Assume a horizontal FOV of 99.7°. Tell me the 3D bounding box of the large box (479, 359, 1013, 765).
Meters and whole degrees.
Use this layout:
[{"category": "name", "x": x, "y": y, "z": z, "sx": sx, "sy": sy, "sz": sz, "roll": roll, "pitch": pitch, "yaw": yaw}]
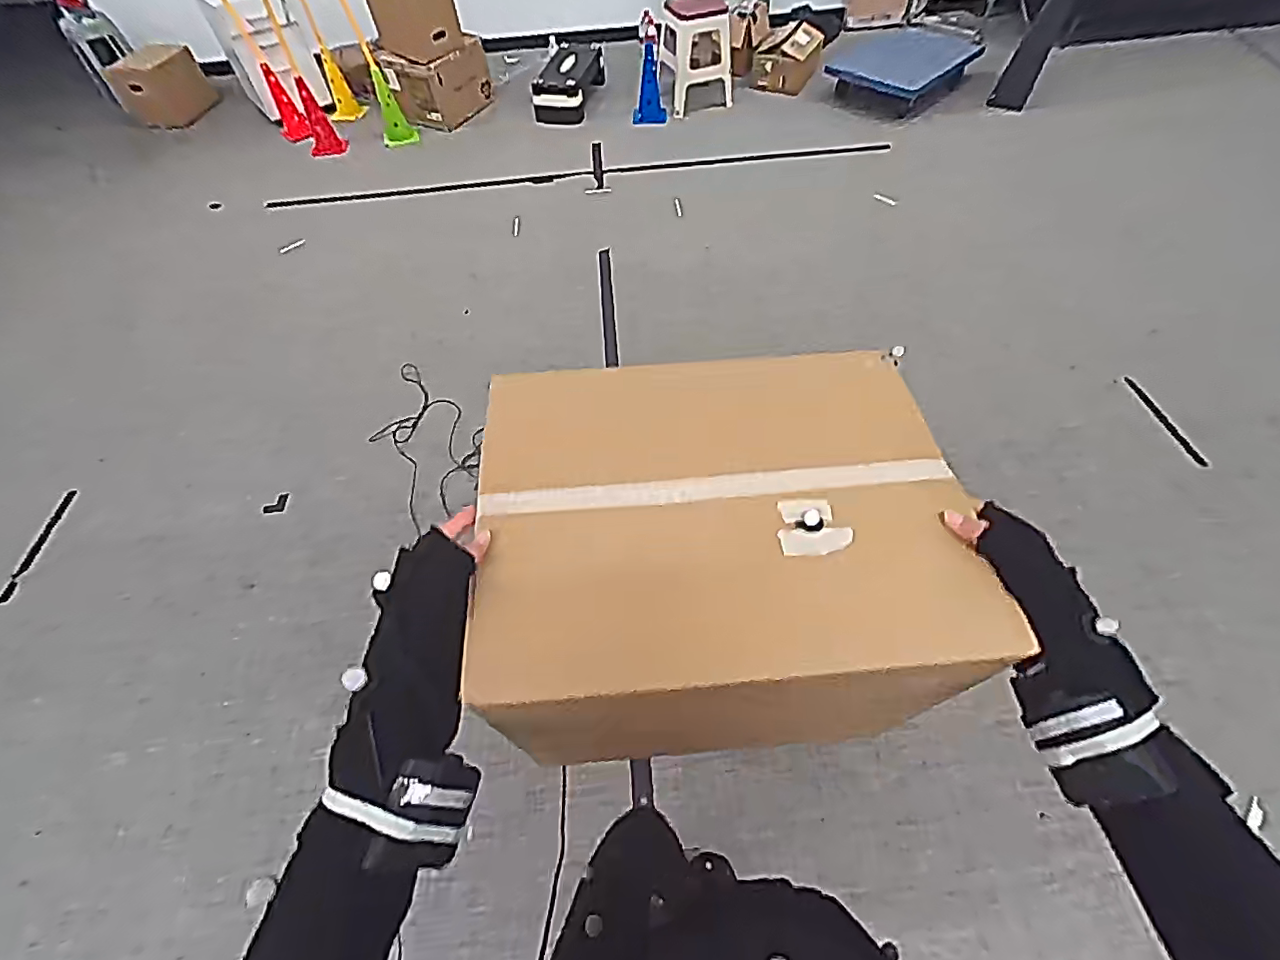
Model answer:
[{"category": "large box", "x": 0.067, "y": 0.099, "z": 0.595, "sx": 0.408, "sy": 0.320, "sz": 0.320, "roll": -4, "pitch": 55, "yaw": -3}]
